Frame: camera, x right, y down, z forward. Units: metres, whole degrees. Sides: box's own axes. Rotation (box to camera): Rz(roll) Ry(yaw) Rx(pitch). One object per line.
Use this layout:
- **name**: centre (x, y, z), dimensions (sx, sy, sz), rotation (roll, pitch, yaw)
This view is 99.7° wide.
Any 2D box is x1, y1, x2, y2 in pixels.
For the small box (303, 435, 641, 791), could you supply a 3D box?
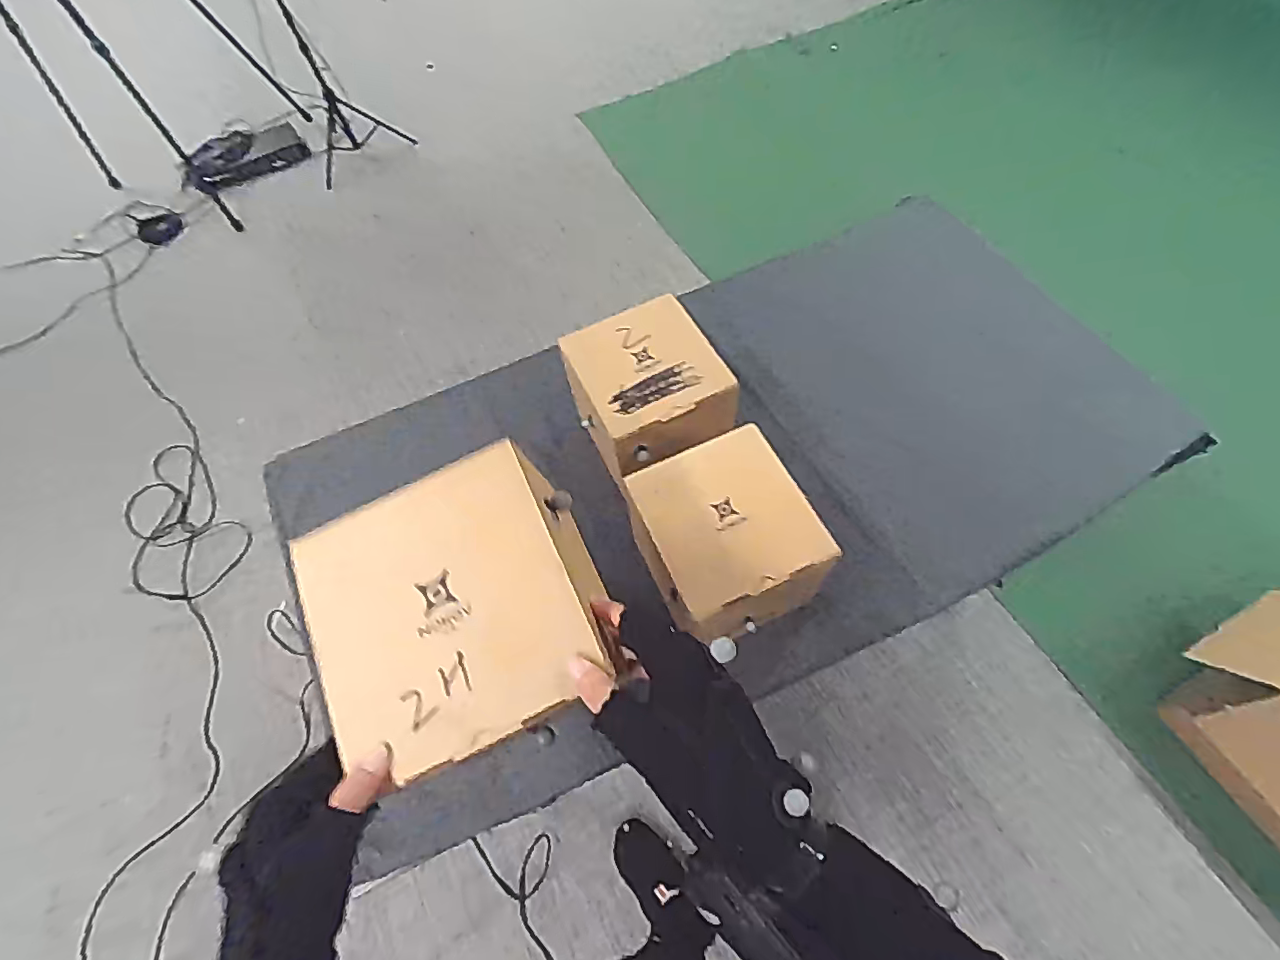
- **small box**: centre (-0.111, 0.100, 0.415), dimensions (0.168, 0.176, 0.179), rotation (-26, 71, -2)
